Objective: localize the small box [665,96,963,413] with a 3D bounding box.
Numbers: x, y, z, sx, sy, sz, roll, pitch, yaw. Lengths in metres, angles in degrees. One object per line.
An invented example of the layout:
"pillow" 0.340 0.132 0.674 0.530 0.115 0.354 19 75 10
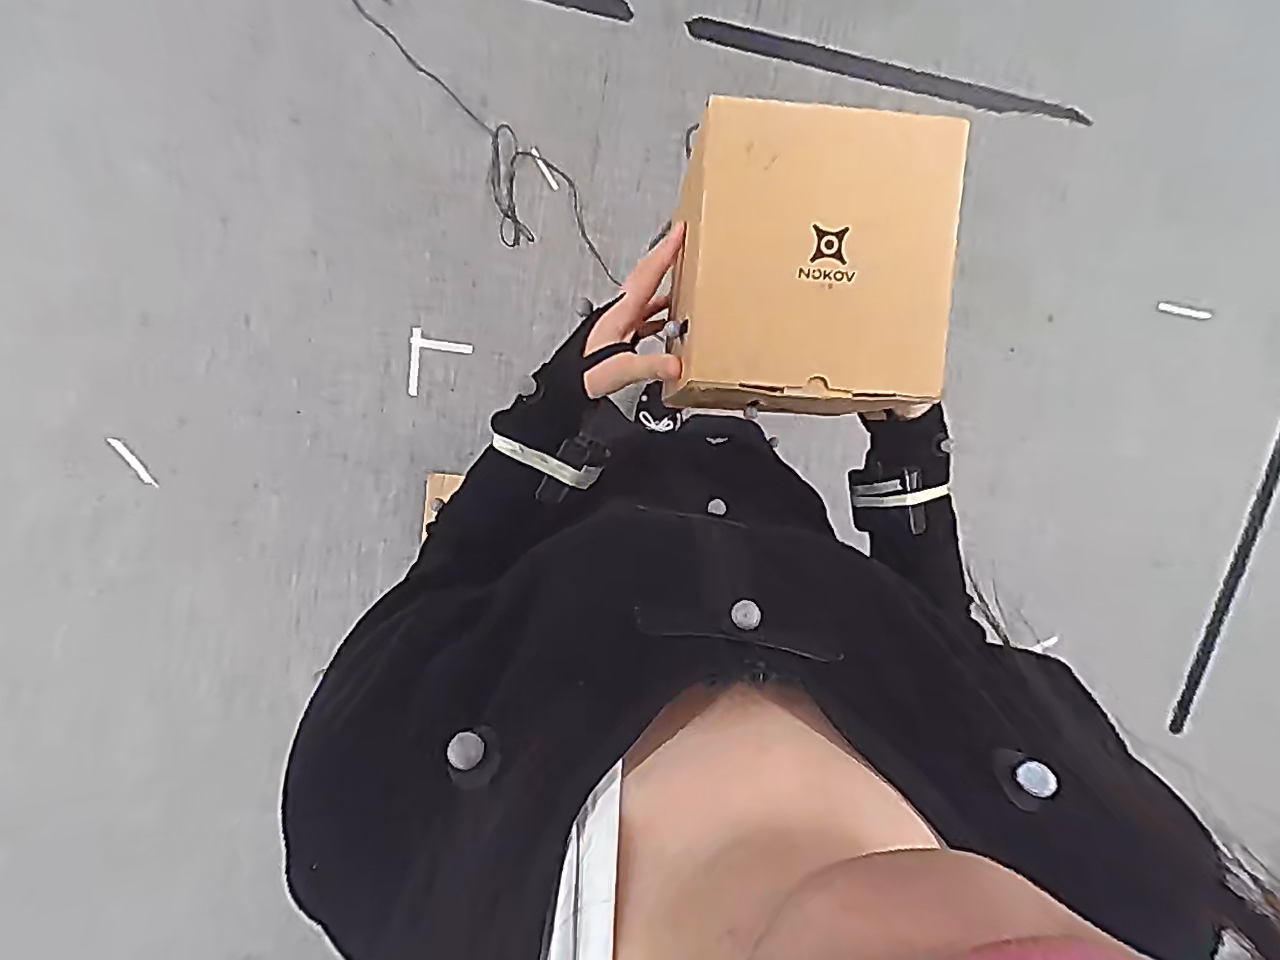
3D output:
"small box" 0.111 -0.148 0.416 0.168 0.176 0.179 2 95 -3
